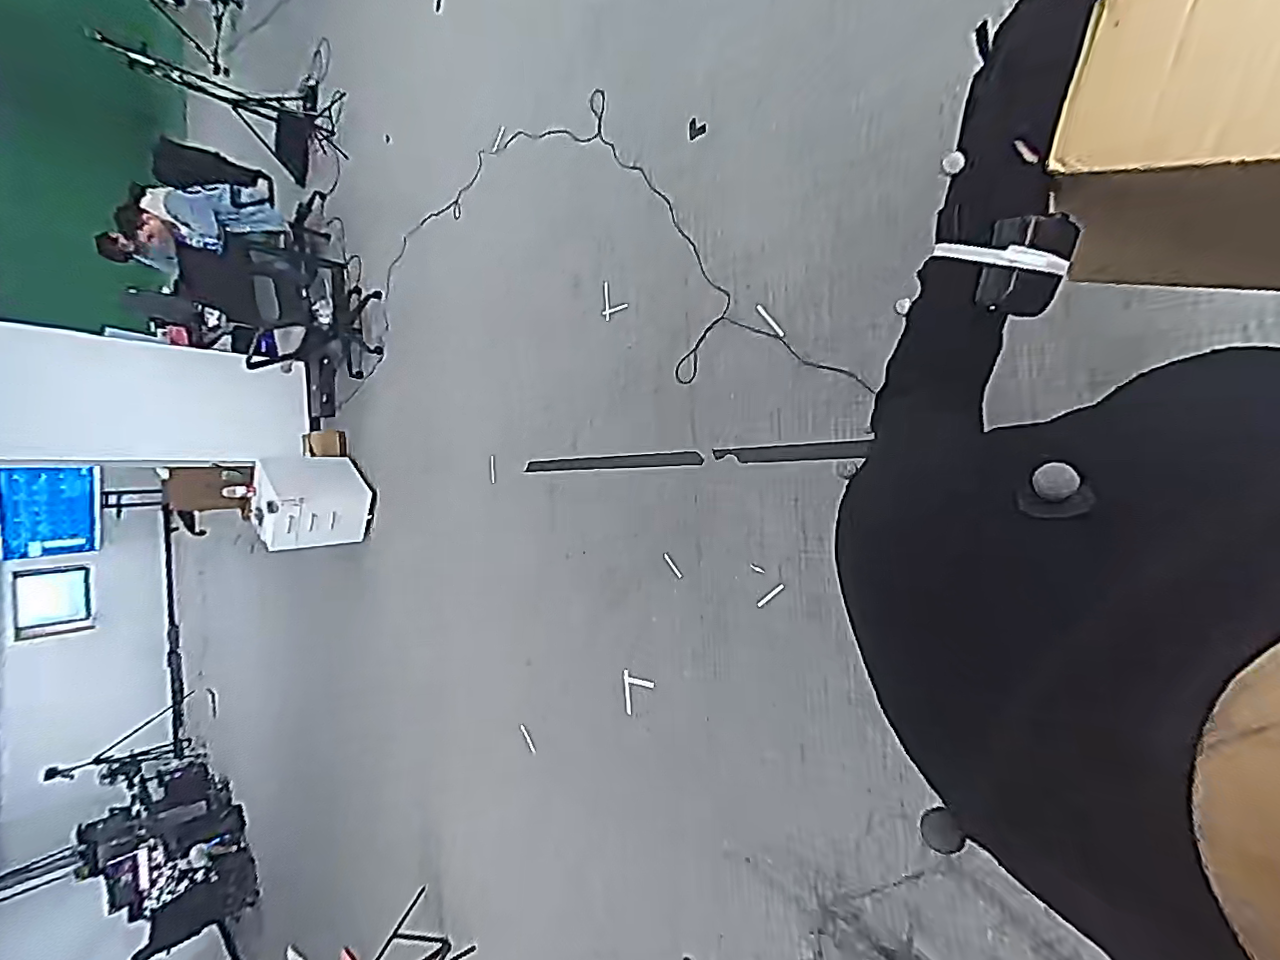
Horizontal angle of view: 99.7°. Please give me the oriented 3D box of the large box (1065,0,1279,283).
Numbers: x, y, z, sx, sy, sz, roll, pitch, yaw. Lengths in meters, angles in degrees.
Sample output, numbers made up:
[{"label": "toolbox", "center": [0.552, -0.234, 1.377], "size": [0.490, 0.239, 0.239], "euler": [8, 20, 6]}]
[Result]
[{"label": "large box", "center": [0.555, -0.313, 0.335], "size": [0.408, 0.320, 0.320], "euler": [20, 106, 37]}]
